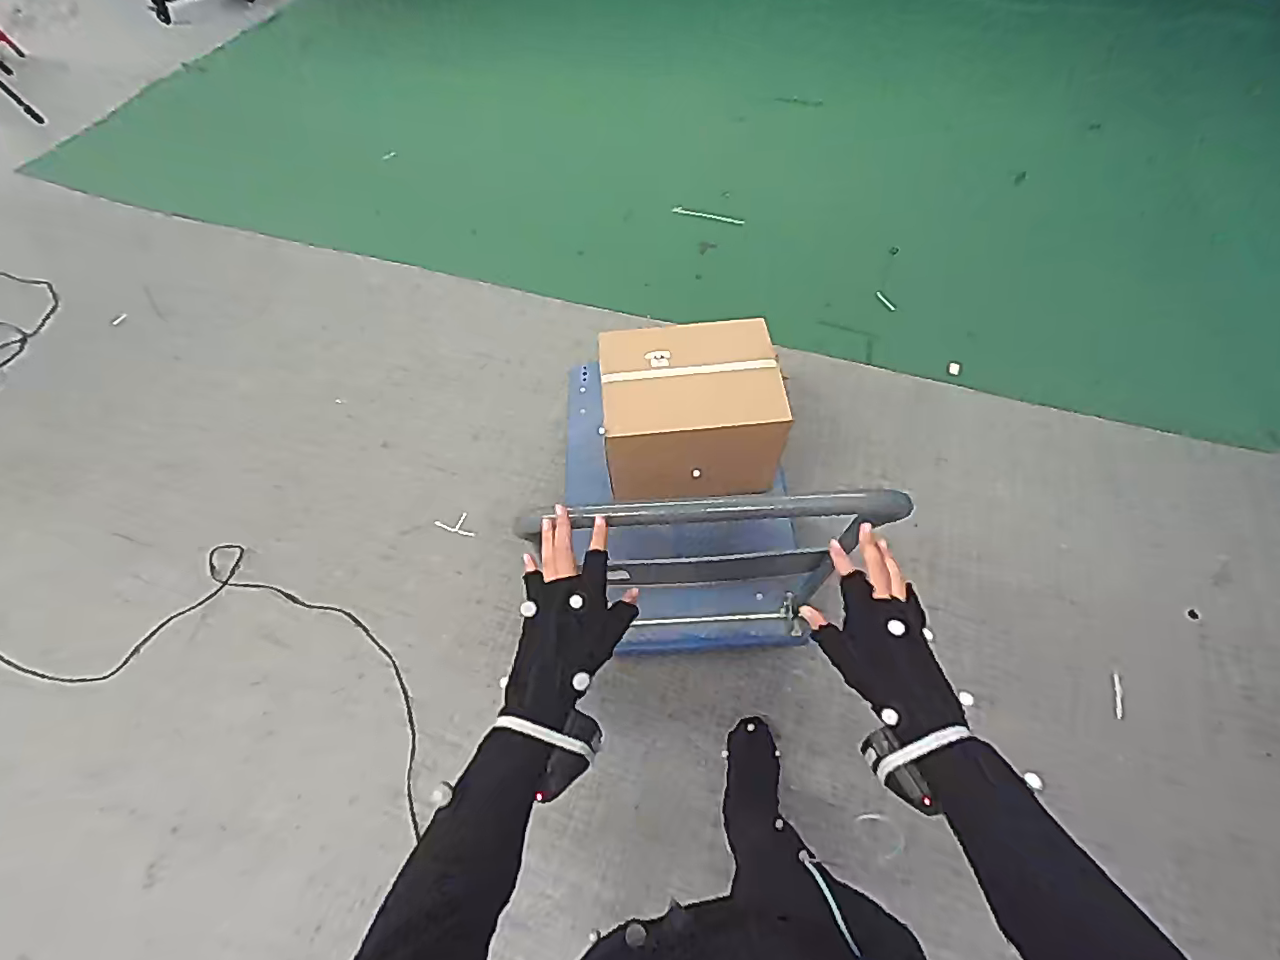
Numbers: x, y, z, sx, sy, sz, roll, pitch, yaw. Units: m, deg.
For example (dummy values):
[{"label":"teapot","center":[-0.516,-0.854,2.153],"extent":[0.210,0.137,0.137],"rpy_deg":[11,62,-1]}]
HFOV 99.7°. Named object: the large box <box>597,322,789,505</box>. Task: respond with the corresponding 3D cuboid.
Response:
[{"label":"large box","center":[0.118,-0.156,1.361],"extent":[0.408,0.320,0.320],"rpy_deg":[-6,59,0]}]
